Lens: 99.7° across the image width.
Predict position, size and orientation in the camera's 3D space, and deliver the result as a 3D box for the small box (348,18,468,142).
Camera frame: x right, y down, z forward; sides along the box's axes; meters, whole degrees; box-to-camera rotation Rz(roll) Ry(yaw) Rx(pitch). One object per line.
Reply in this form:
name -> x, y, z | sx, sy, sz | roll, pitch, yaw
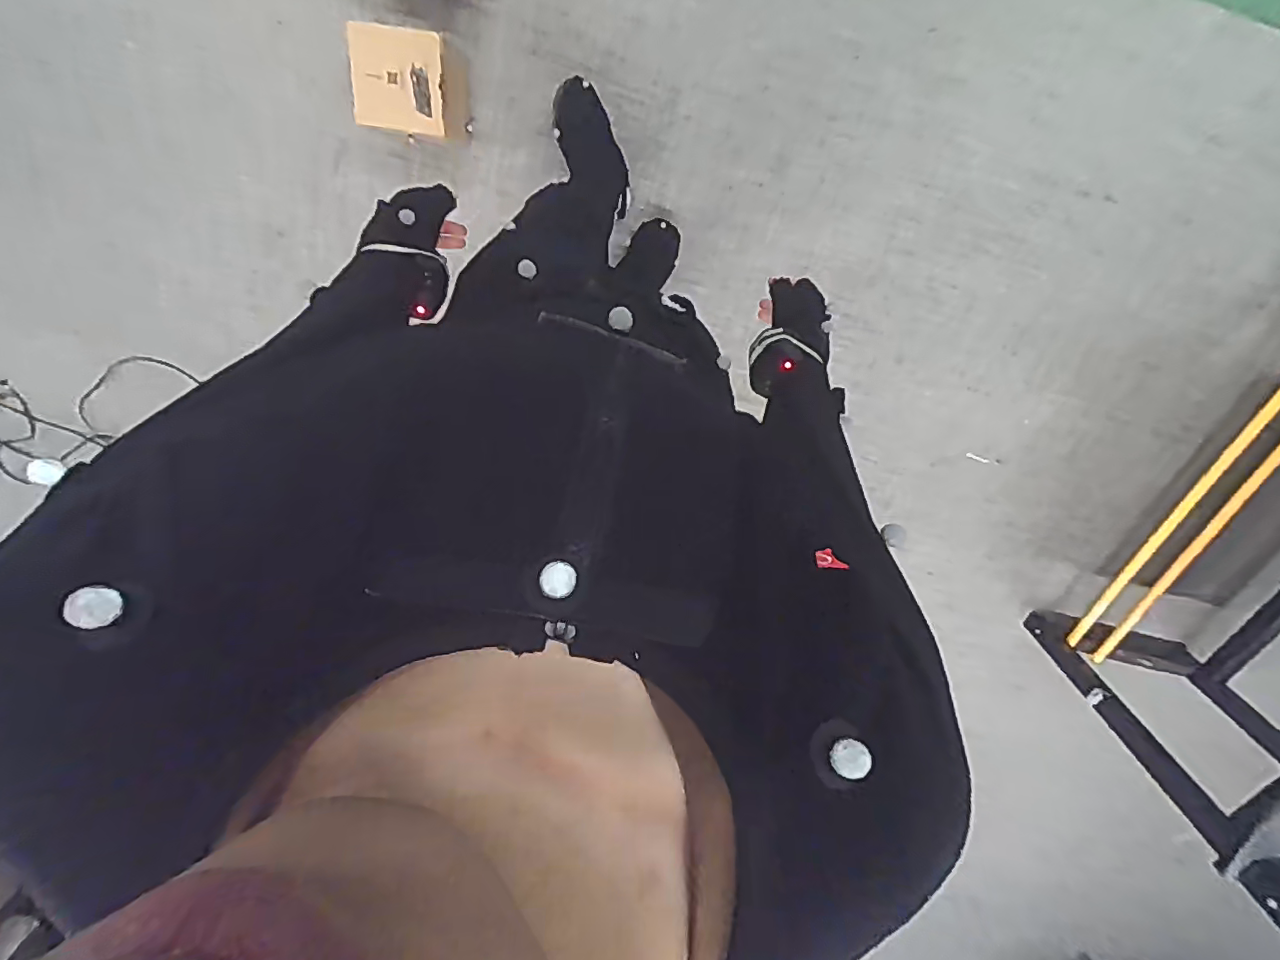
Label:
small box -> -0.454, -0.795, 1.093 | 0.179, 0.176, 0.168 | 8, 117, -1
